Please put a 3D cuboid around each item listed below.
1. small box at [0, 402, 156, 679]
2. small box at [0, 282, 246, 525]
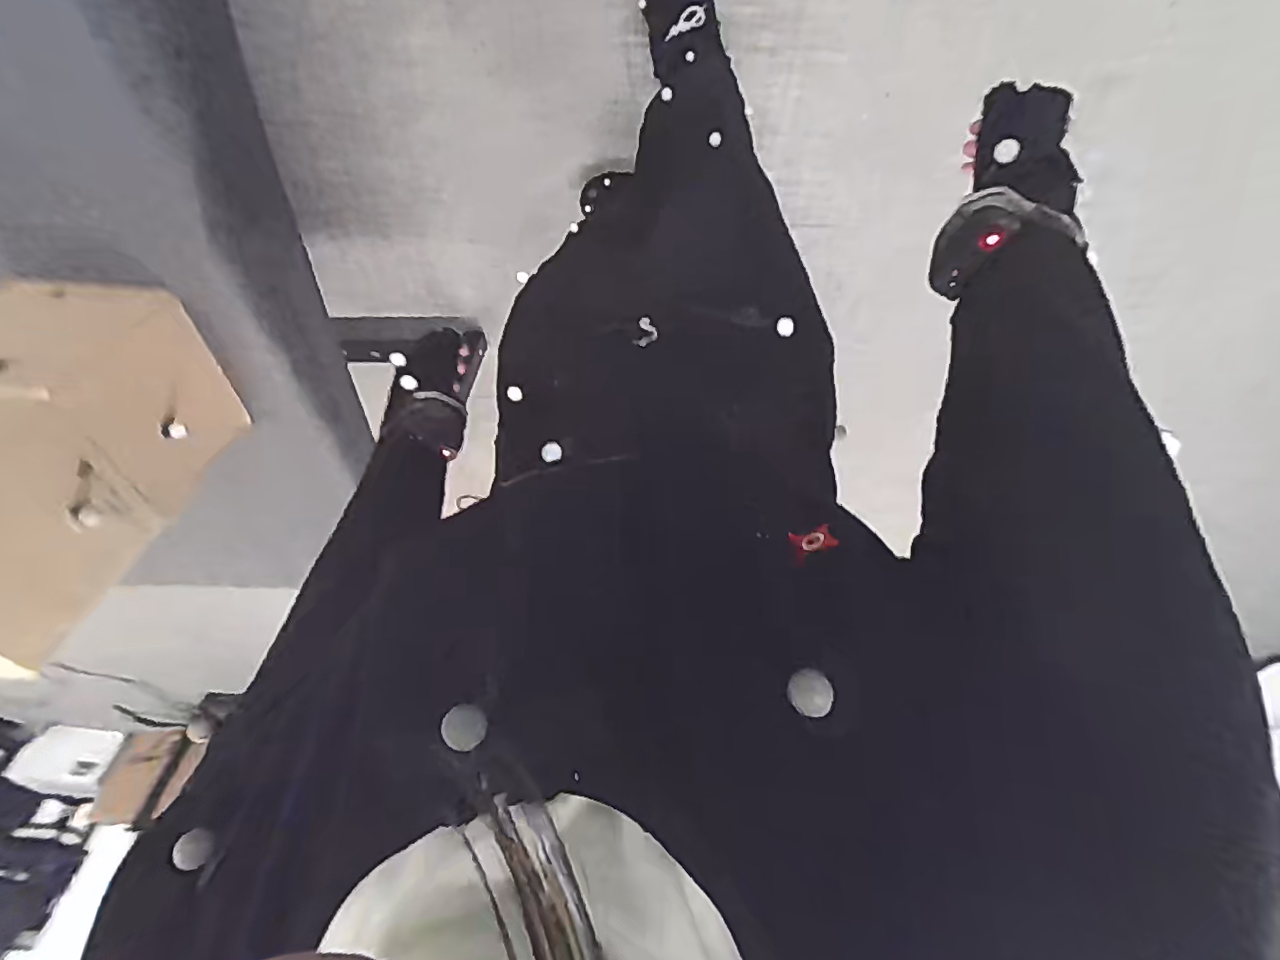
[{"bbox_3d":[-0.579,0.043,0.448,0.179,0.176,0.168,4,136,0],"label":"small box"},{"bbox_3d":[-0.563,-0.078,0.560,0.168,0.176,0.179,4,137,0],"label":"small box"}]
